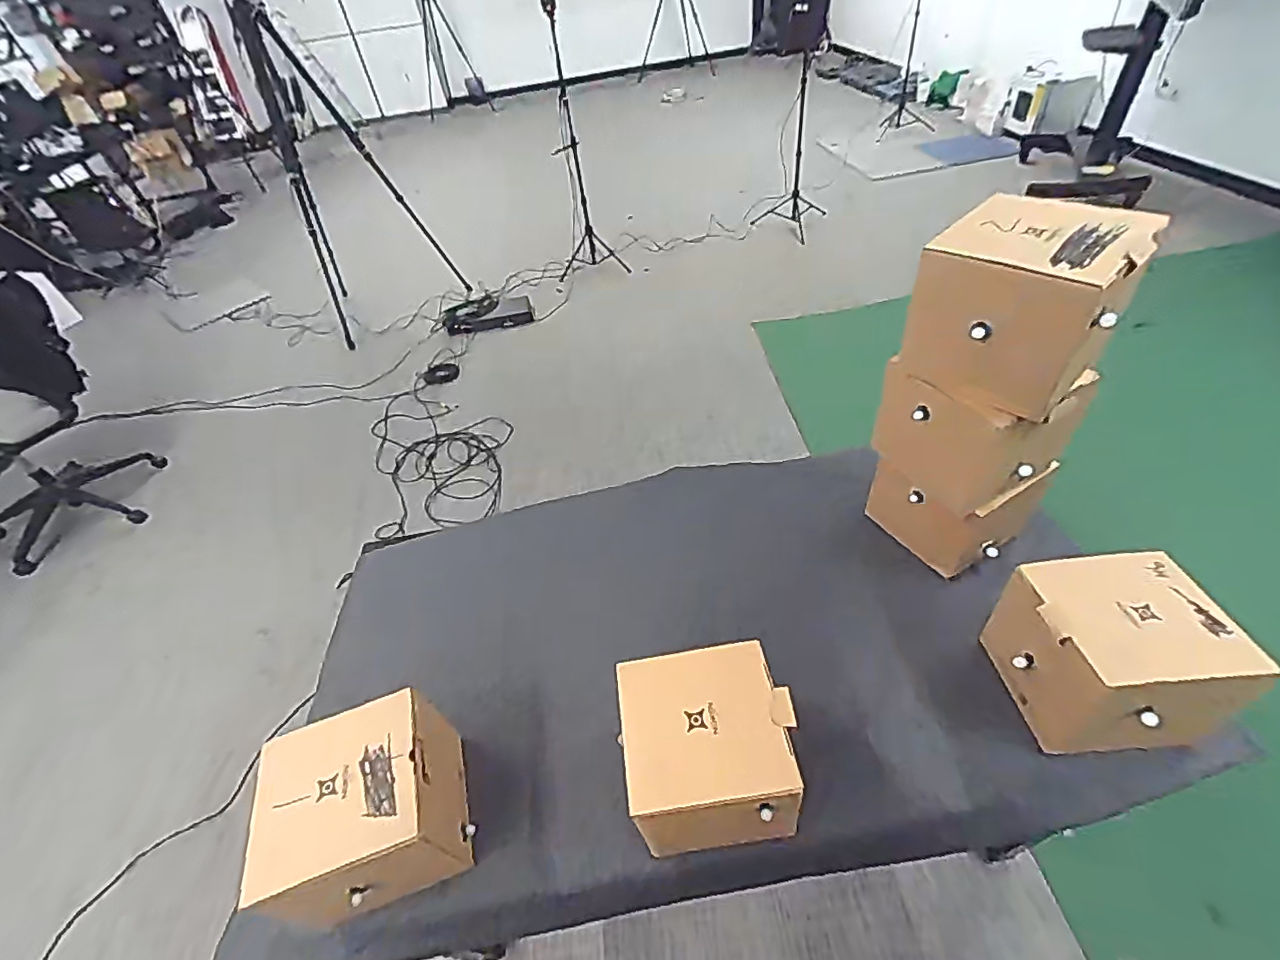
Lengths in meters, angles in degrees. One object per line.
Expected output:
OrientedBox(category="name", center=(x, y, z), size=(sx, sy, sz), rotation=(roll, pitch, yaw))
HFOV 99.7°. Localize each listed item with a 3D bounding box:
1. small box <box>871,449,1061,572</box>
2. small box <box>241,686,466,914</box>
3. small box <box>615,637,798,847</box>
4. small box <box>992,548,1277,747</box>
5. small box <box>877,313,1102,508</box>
OrientedBox(category="small box", center=(0.499, 0.012, 0.861), size=(0.168, 0.176, 0.179), rotation=(-28, 50, -14))
OrientedBox(category="small box", center=(-0.317, 0.379, 0.640), size=(0.179, 0.176, 0.168), rotation=(-18, 47, -8))
OrientedBox(category="small box", center=(0.075, 0.313, 0.642), size=(0.179, 0.176, 0.168), rotation=(-10, 44, 1))
OrientedBox(category="small box", center=(0.563, 0.207, 0.656), size=(0.179, 0.176, 0.168), rotation=(-7, 42, 4))
OrientedBox(category="small box", center=(0.455, -0.095, 0.741), size=(0.168, 0.176, 0.179), rotation=(-25, 48, -10))
